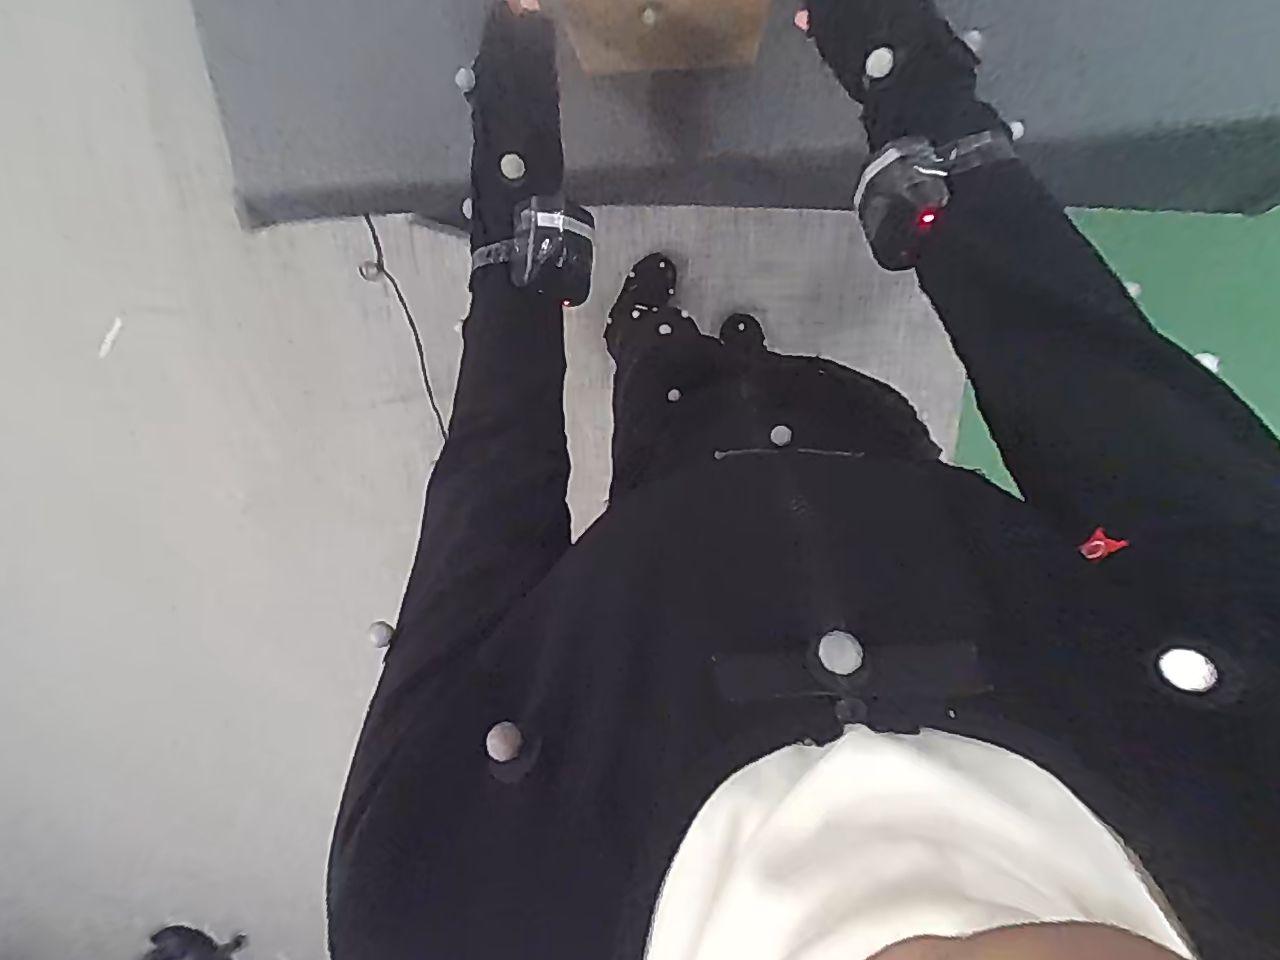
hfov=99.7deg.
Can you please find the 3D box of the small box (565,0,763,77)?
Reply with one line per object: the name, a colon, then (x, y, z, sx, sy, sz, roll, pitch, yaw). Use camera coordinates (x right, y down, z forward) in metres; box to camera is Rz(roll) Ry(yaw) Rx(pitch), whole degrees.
small box: (0.023, -0.484, 0.476, 0.179, 0.176, 0.168, 0, 108, 4)
